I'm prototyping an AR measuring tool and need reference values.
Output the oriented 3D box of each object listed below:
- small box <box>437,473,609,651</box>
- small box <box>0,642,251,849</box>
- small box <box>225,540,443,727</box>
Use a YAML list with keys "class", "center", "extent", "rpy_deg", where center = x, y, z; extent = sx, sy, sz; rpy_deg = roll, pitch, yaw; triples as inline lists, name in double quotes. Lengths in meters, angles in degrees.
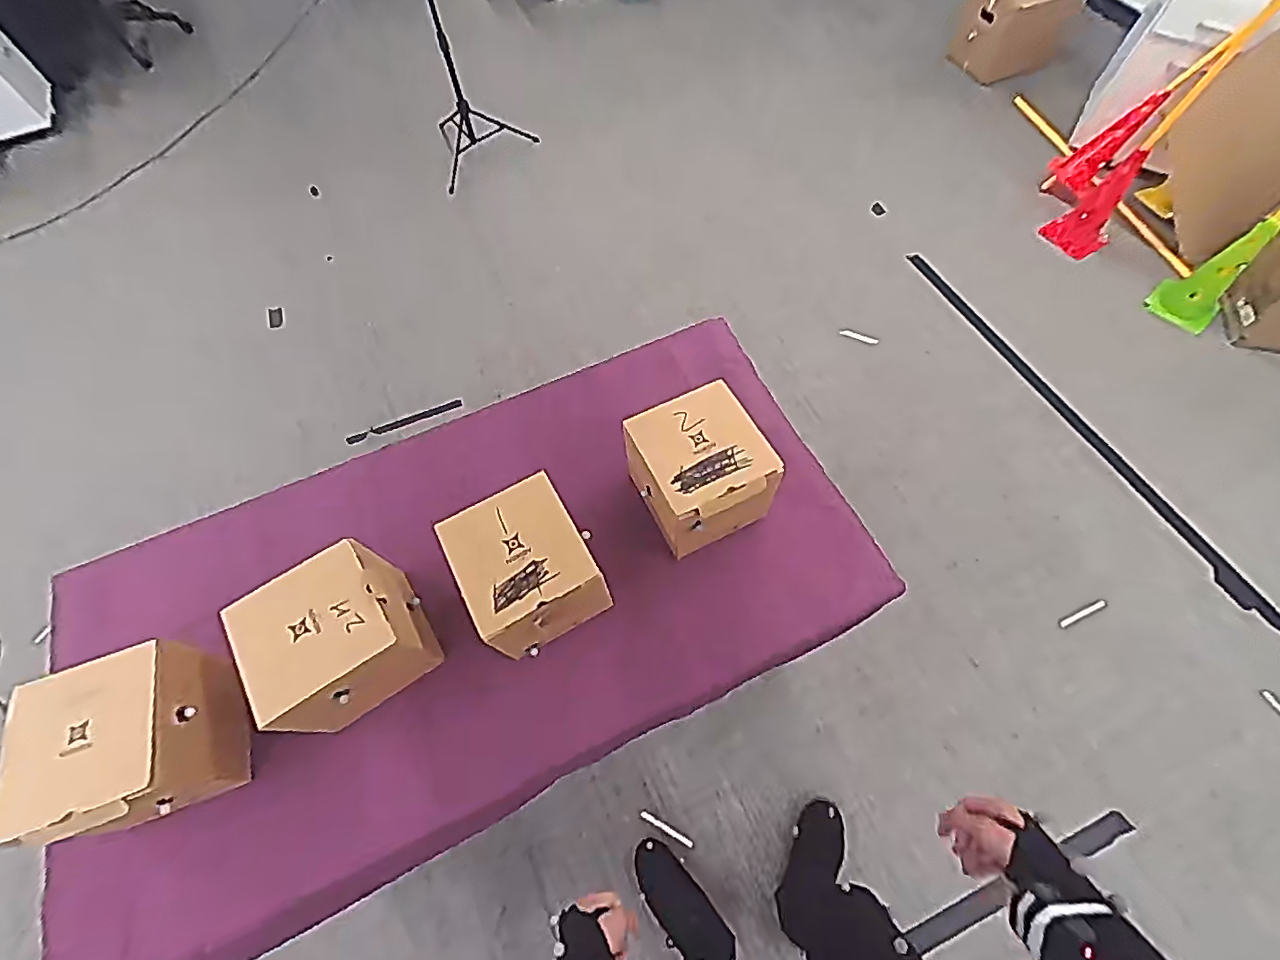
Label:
- class: "small box"
  center: [-0.155, 0.126, 0.770]
  extent: [0.168, 0.176, 0.179]
  rpy_deg: [-28, 65, -11]
- class: "small box"
  center: [-0.633, 0.330, 0.691]
  extent: [0.168, 0.176, 0.179]
  rpy_deg: [-19, 64, -8]
- class: "small box"
  center: [-0.403, 0.216, 0.736]
  extent: [0.179, 0.176, 0.168]
  rpy_deg: [-32, 67, -13]
